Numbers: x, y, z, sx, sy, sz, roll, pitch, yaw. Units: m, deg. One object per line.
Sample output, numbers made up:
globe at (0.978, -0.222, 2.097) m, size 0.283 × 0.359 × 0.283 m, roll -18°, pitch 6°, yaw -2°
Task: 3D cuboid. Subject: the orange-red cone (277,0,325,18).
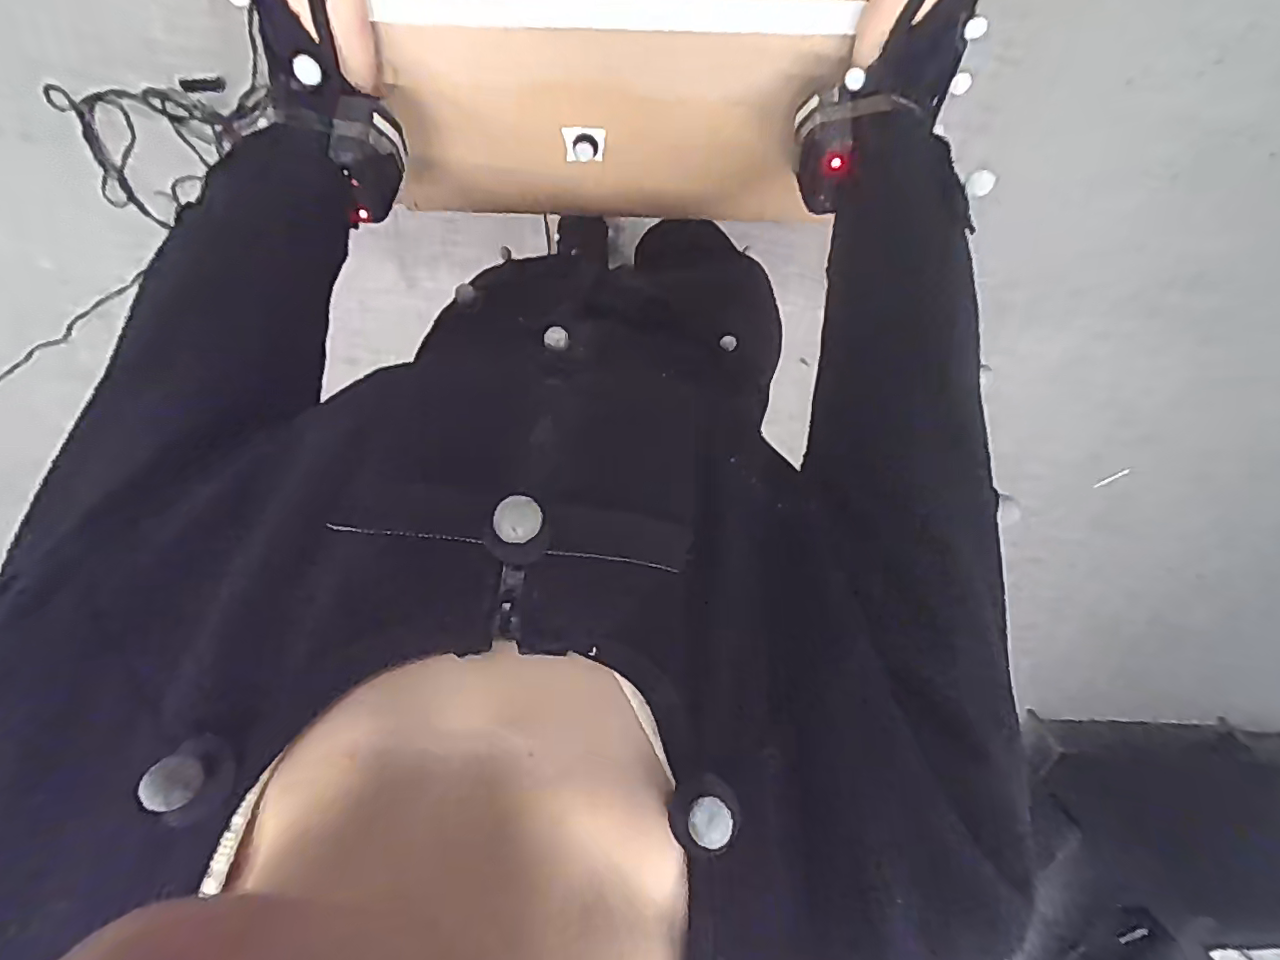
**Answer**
orange-red cone at (-0.609, -0.859, 0.757) m, size 0.199 × 0.360 × 0.198 m, roll 24°, pitch 112°, yaw -12°
